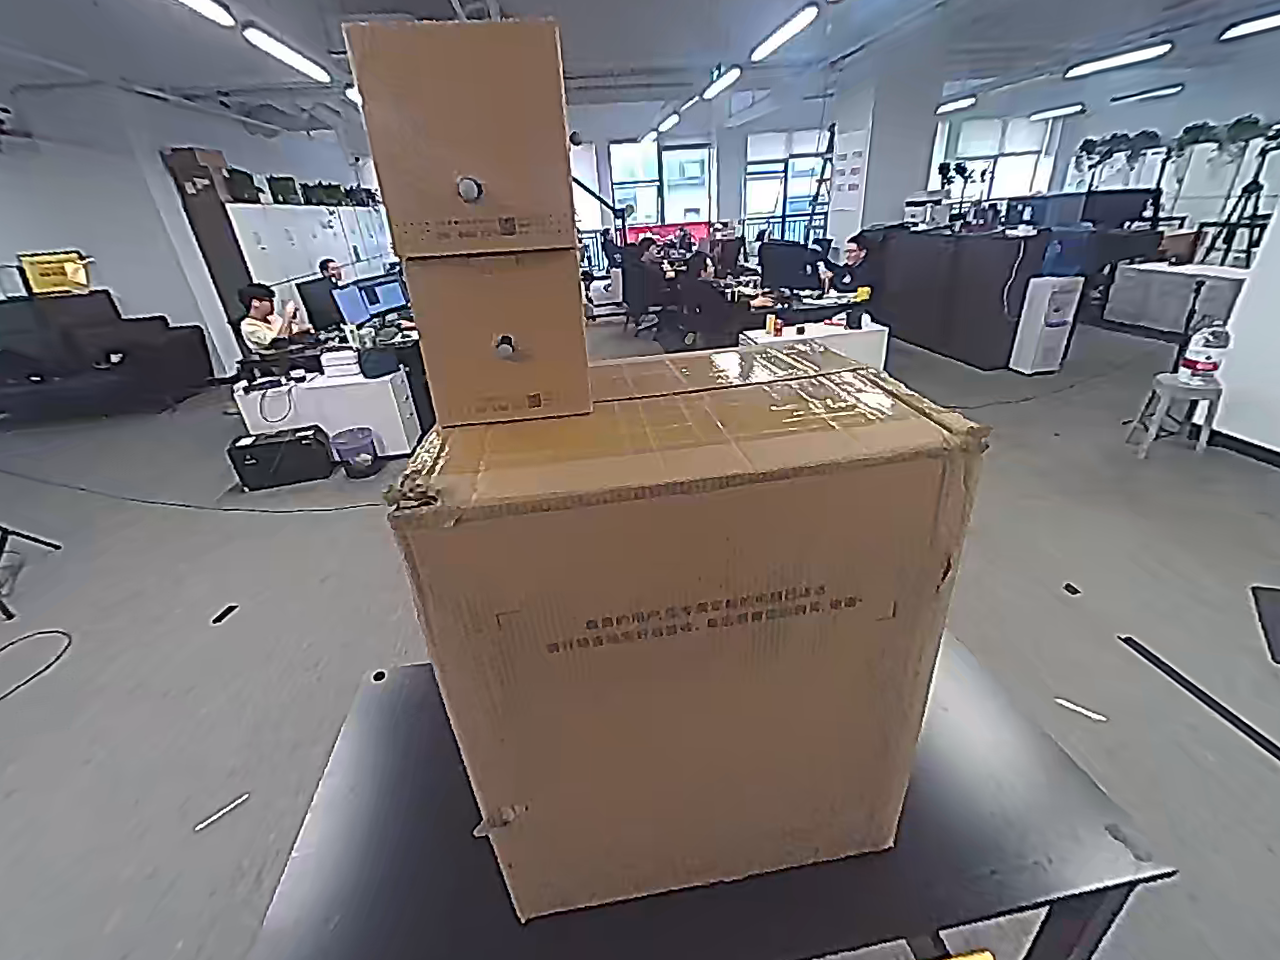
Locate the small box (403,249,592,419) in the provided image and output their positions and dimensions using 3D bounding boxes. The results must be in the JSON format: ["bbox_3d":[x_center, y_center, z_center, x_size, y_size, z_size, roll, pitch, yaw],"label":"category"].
[{"bbox_3d":[-0.148,-0.172,0.618,0.168,0.176,0.179,-6,27,-6],"label":"small box"}]

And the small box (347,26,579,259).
[{"bbox_3d":[-0.152,-0.313,0.531,0.168,0.176,0.179,-6,27,-5],"label":"small box"}]
